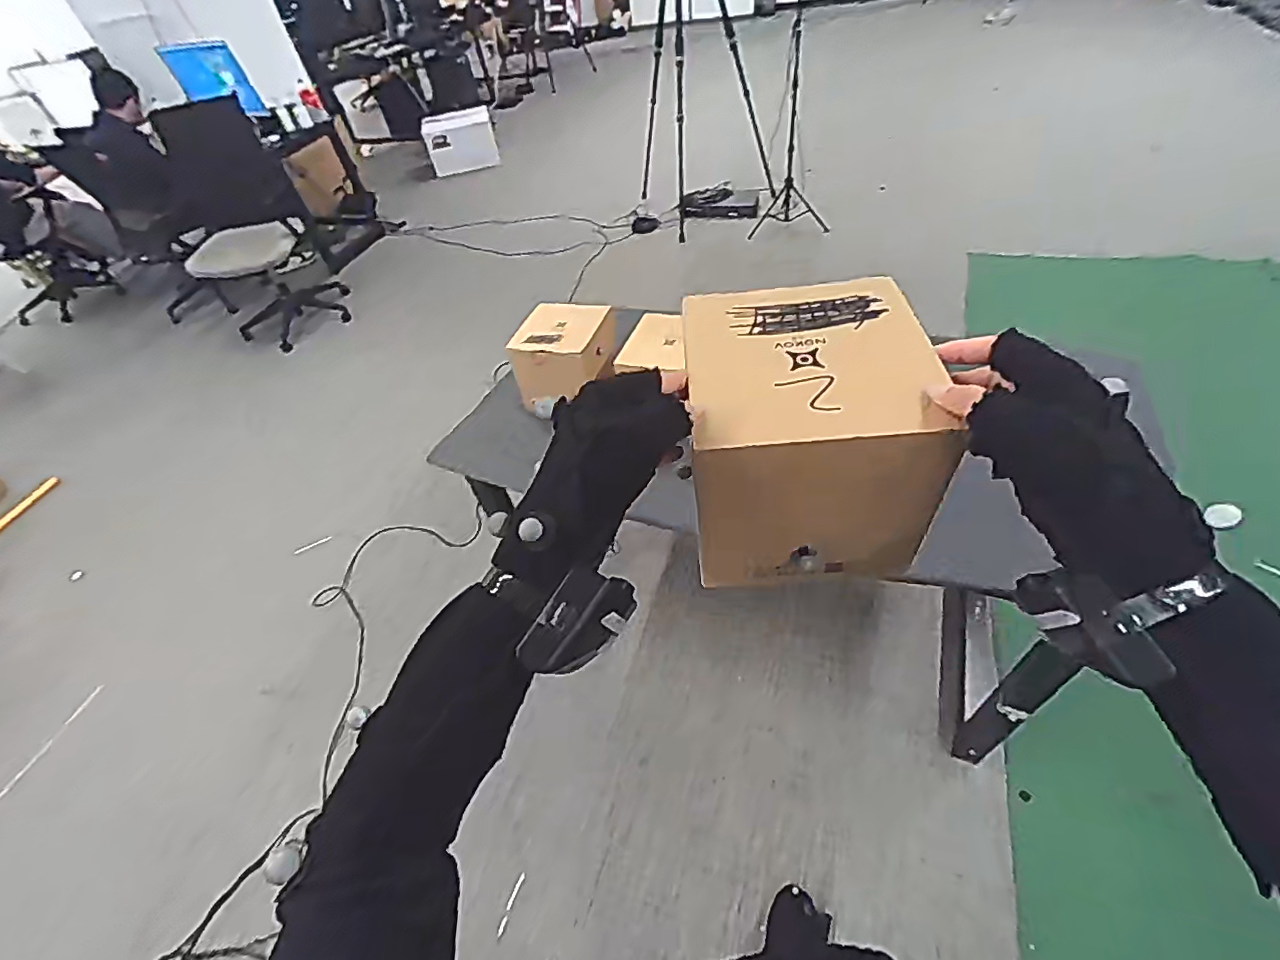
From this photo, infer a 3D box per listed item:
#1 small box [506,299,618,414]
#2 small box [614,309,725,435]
[{"bbox_3d":[-0.150,-0.259,1.136,0.168,0.176,0.179,9,49,17],"label":"small box"},{"bbox_3d":[0.068,-0.210,1.057,0.168,0.176,0.179,11,50,19],"label":"small box"}]
